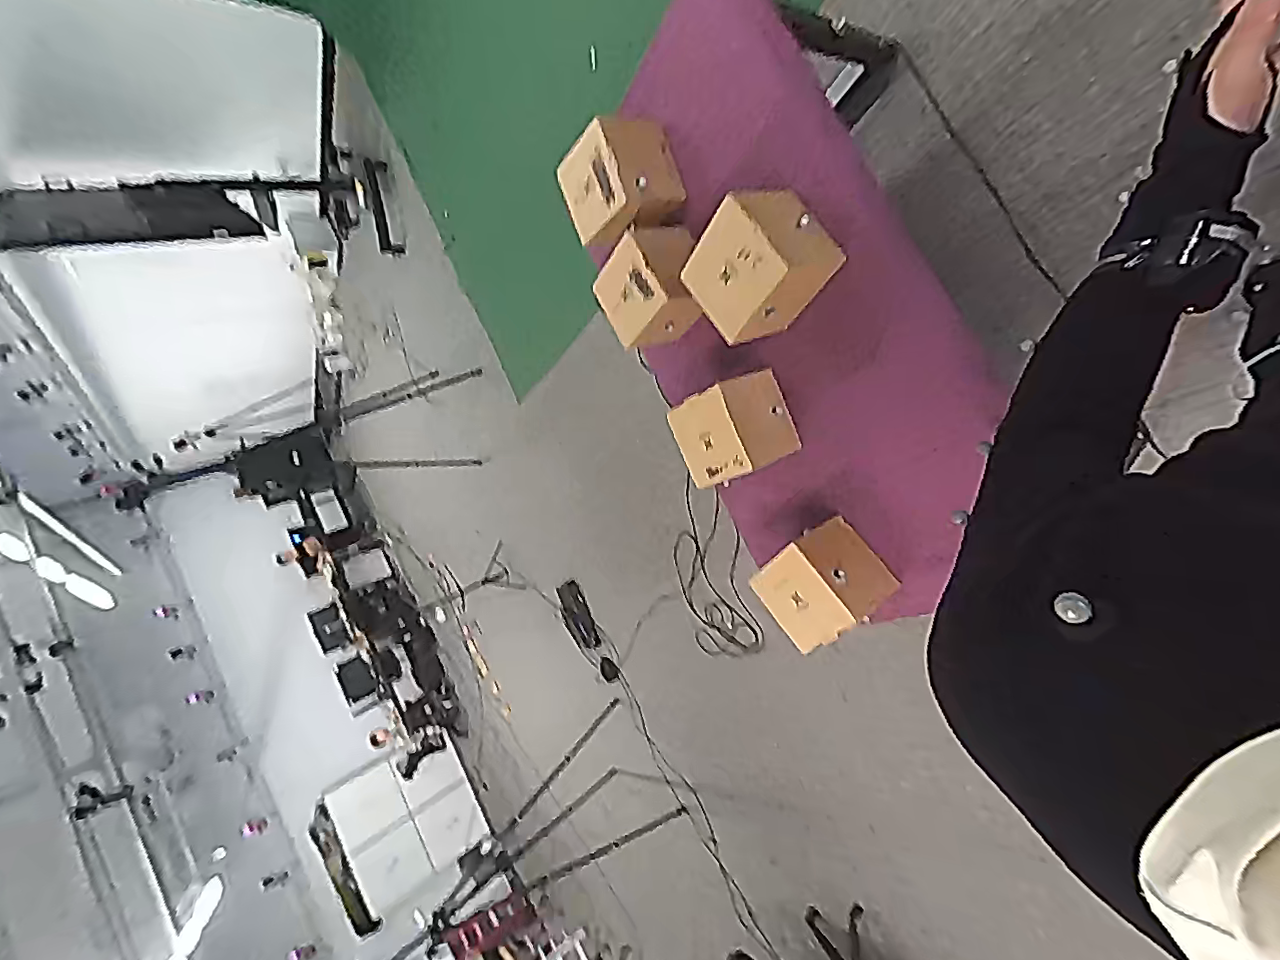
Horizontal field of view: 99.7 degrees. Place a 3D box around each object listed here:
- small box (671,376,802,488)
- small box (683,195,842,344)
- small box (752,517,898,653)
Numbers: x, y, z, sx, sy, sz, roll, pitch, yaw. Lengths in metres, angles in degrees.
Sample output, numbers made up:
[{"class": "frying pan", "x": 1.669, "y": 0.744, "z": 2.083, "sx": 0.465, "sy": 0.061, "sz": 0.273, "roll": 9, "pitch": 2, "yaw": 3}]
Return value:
[{"class": "small box", "x": 0.199, "y": -0.103, "z": 1.113, "sx": 0.168, "sy": 0.176, "sz": 0.179, "roll": -22, "pitch": 90, "yaw": 54}, {"class": "small box", "x": 0.214, "y": -0.370, "z": 0.951, "sx": 0.168, "sy": 0.176, "sz": 0.179, "roll": 57, "pitch": 144, "yaw": 13}, {"class": "small box", "x": 0.365, "y": 0.202, "z": 1.064, "sx": 0.179, "sy": 0.176, "sz": 0.168, "roll": 54, "pitch": 140, "yaw": 19}]
